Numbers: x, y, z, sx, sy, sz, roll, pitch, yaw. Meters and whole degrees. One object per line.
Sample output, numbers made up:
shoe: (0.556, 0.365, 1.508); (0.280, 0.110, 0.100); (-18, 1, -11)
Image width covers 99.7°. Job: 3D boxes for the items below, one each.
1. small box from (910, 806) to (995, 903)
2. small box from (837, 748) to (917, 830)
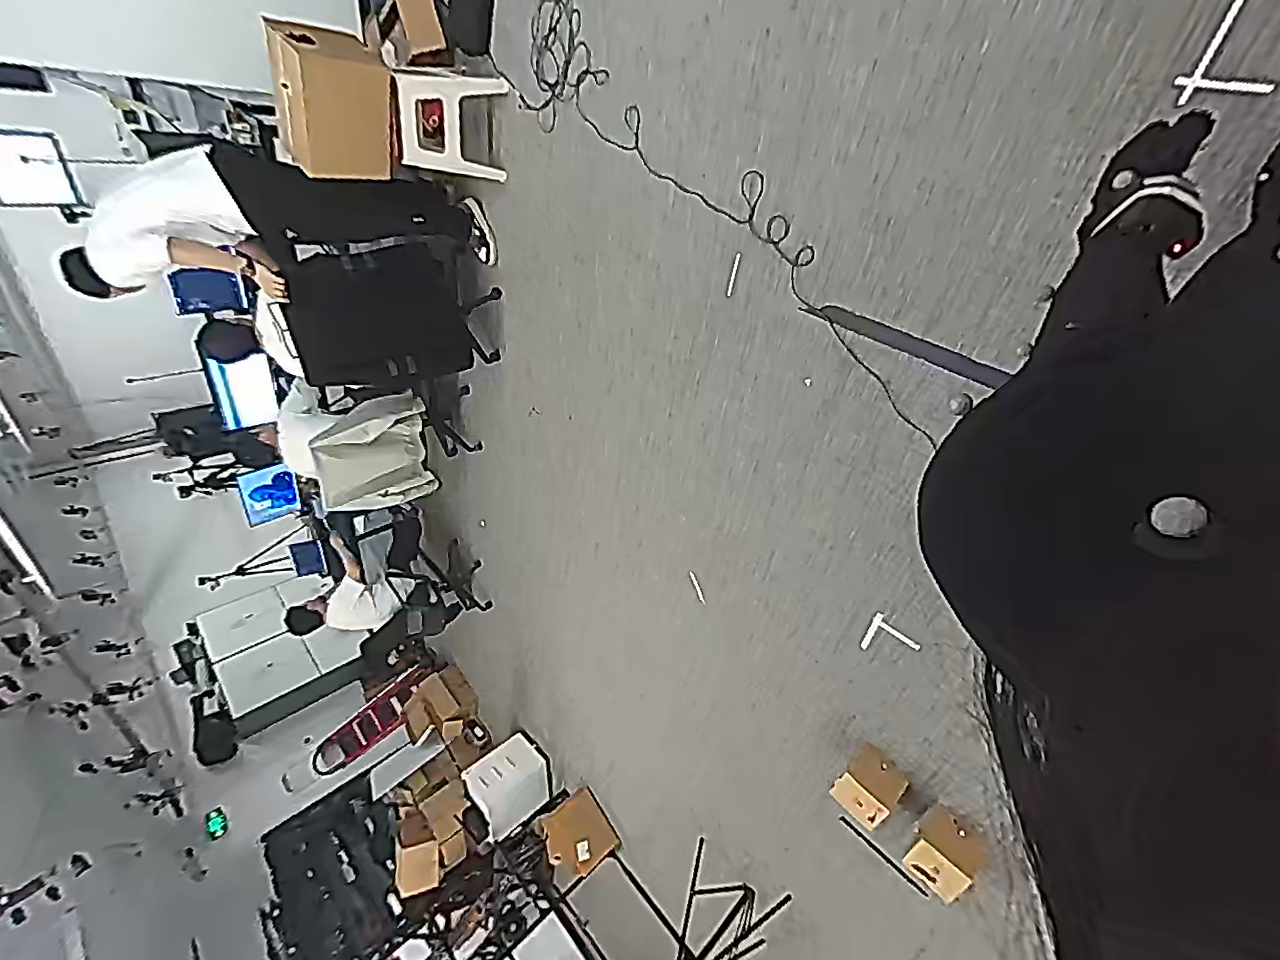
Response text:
small box: (1.039, 1.237, 1.794); (0.168, 0.176, 0.179); (35, 132, 33)
small box: (0.851, 1.099, 1.943); (0.179, 0.176, 0.168); (39, 134, 31)
